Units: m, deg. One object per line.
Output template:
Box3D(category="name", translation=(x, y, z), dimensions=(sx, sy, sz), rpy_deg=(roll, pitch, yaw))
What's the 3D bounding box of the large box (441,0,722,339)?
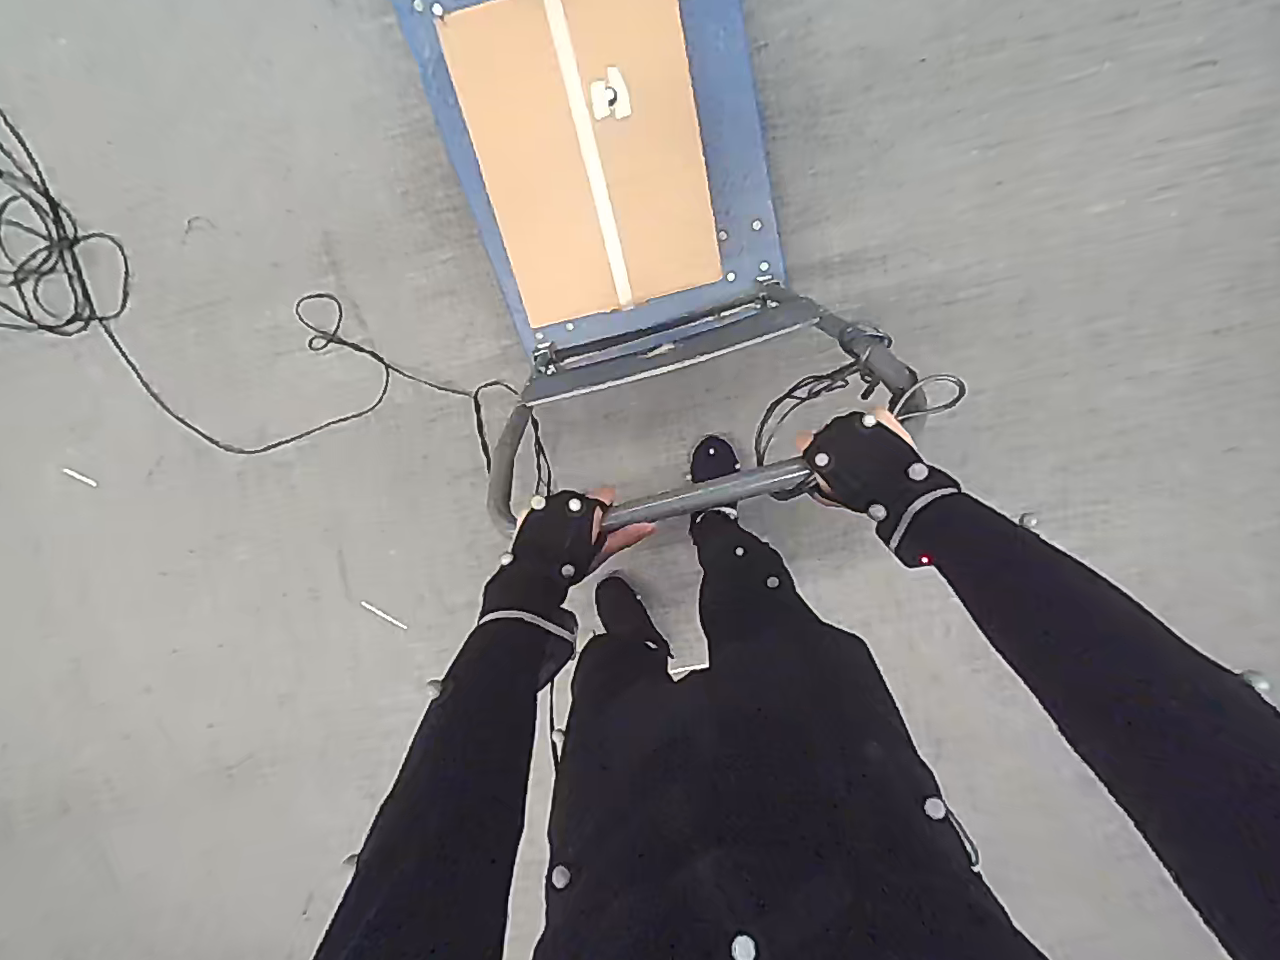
Box3D(category="large box", translation=(-0.067, -0.490, 0.910), dimensions=(0.320, 0.320, 0.408), rpy_deg=(-13, 112, 5))
